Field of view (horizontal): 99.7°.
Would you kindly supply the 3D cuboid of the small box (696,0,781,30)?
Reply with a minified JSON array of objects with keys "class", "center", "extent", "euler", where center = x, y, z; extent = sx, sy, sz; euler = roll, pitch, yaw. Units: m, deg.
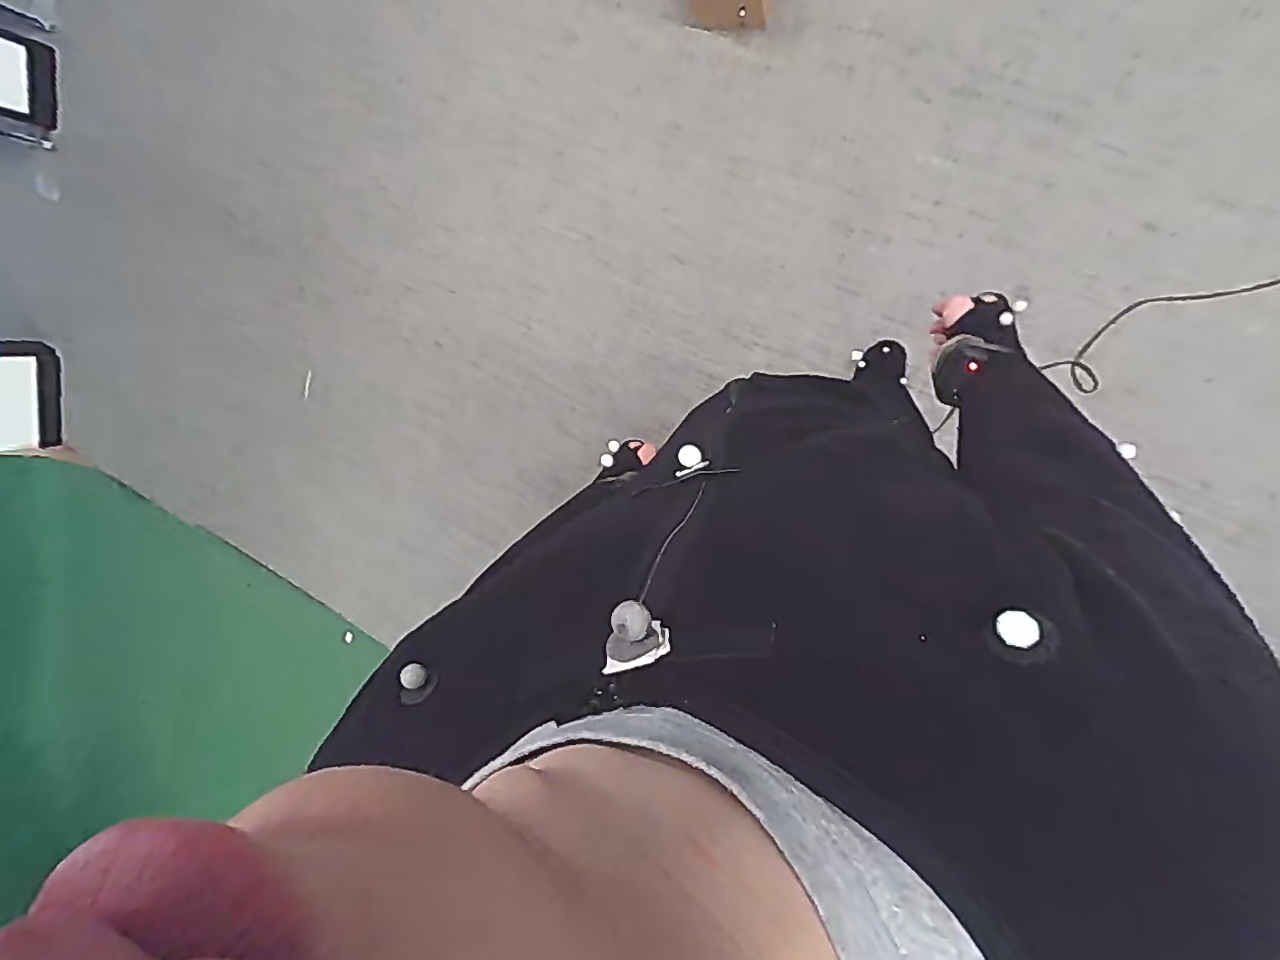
[{"class":"small box","center":[0.230,-1.140,1.200],"extent":[0.168,0.176,0.179],"euler":[14,106,17]}]
